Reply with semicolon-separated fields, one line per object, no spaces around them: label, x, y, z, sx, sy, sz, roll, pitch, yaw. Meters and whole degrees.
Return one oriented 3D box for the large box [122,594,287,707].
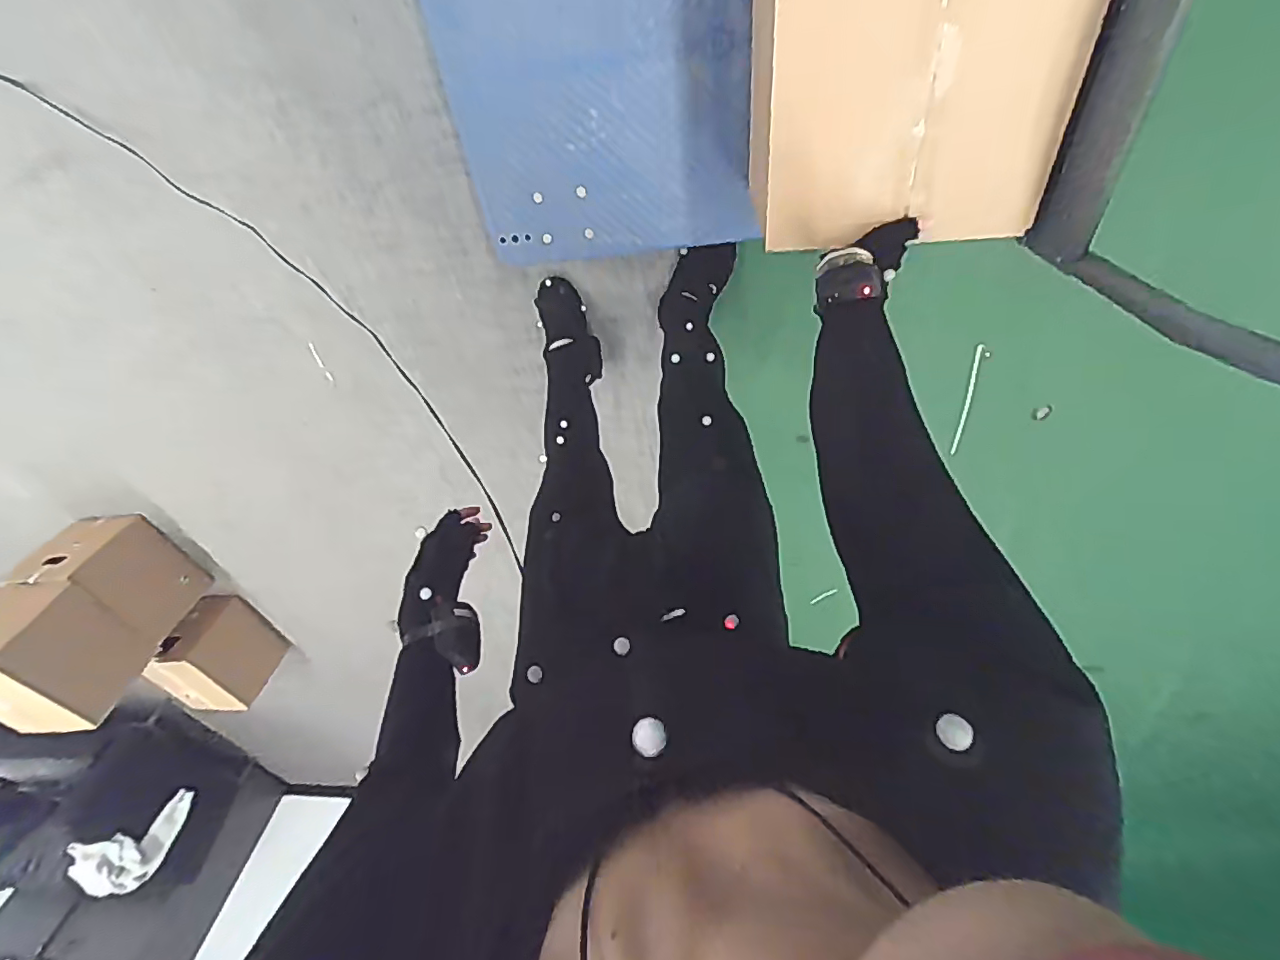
large box;-1.854;0.737;2.341;0.320;0.320;0.408;-3;132;12
